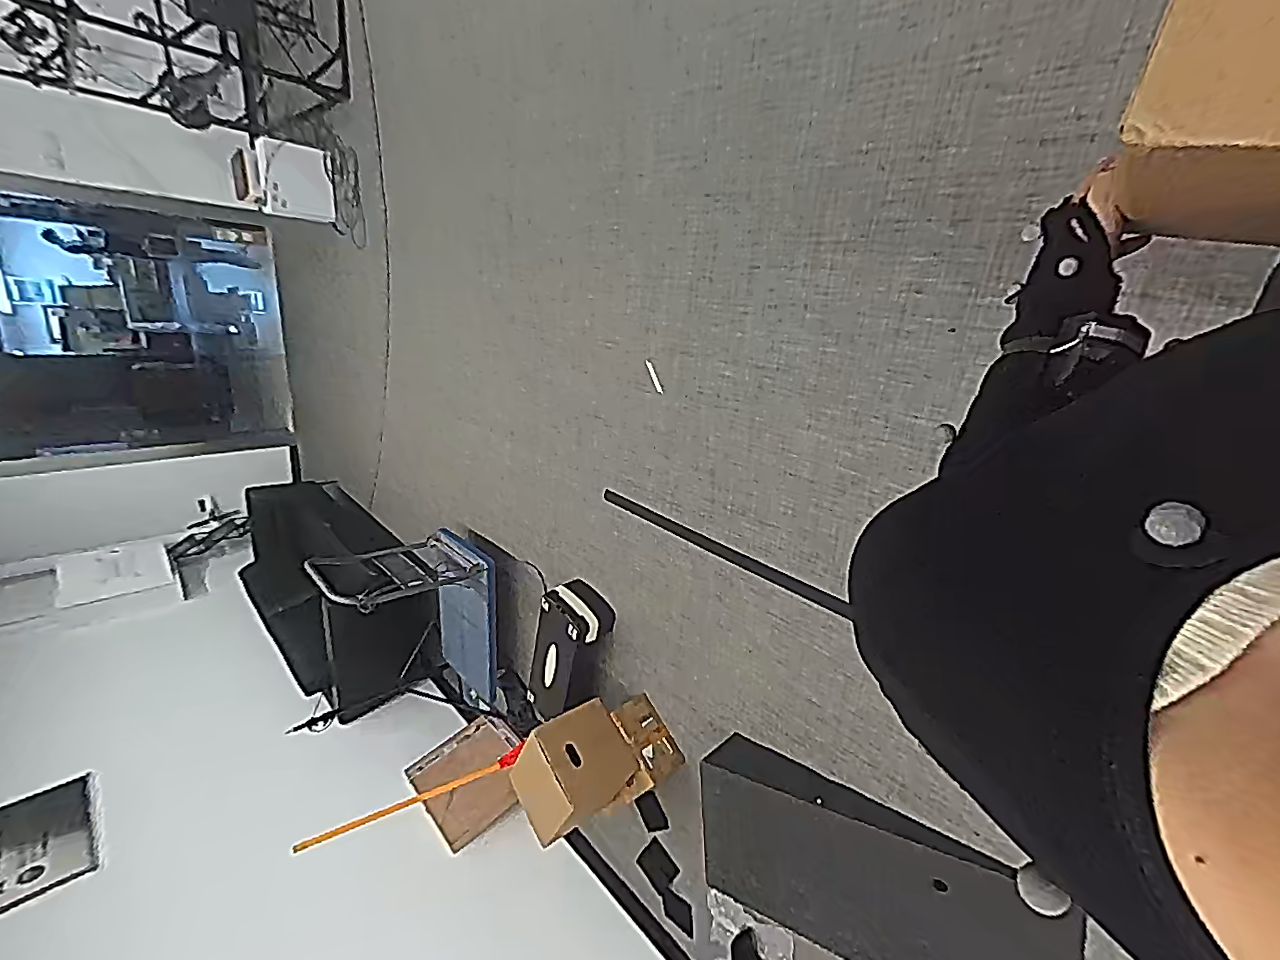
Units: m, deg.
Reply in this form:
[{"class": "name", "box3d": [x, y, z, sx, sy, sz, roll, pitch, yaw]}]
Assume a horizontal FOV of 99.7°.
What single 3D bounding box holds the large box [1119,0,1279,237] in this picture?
[{"class": "large box", "box3d": [0.491, -0.266, 0.196, 0.408, 0.320, 0.320, 25, 118, 33]}]
